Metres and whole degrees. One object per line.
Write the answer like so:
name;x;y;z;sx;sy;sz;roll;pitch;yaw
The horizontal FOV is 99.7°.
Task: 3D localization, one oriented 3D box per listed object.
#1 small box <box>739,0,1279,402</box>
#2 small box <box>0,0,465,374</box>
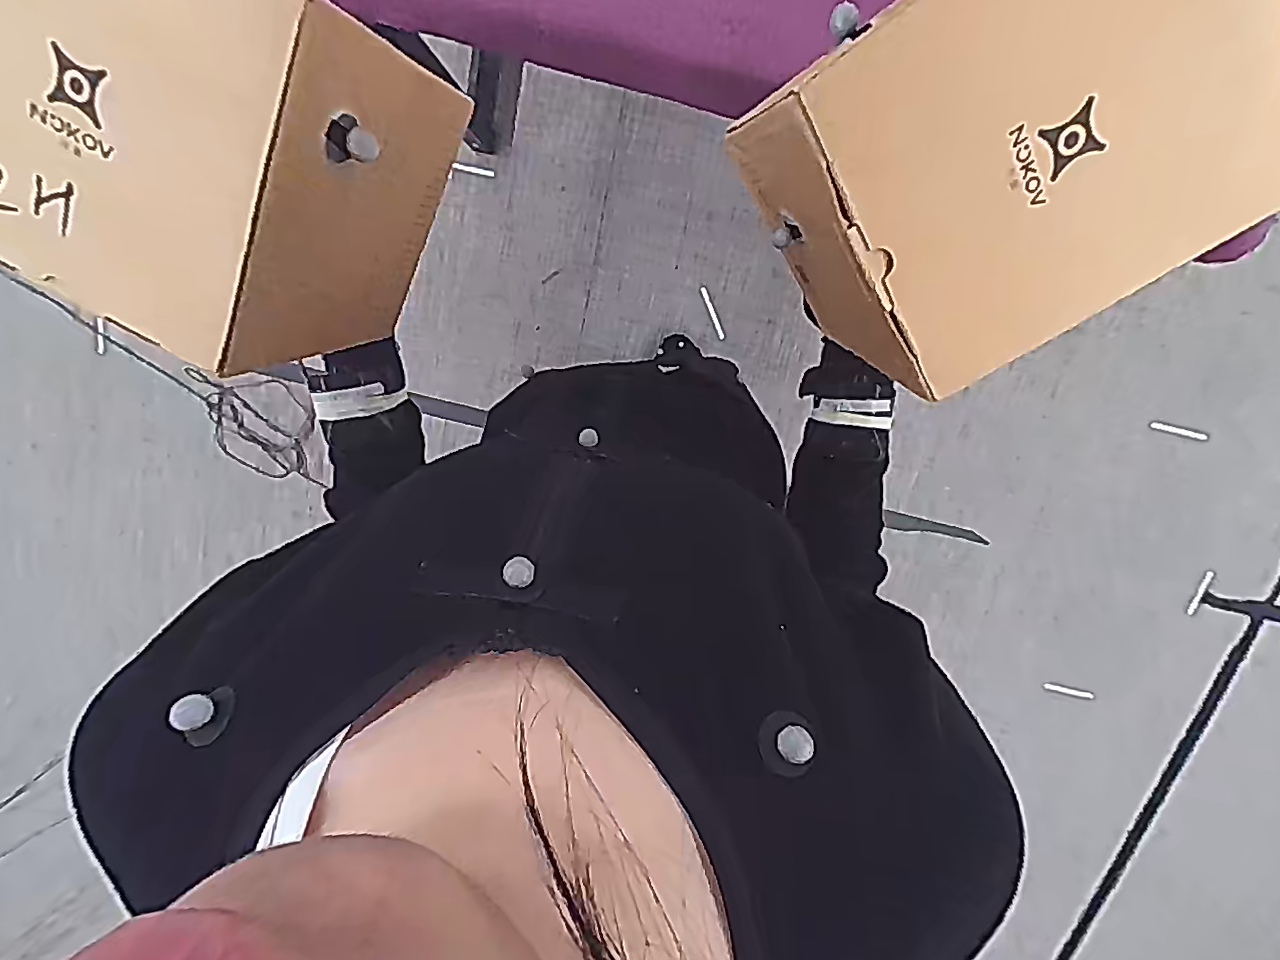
small box;0.180;-0.180;0.309;0.179;0.176;0.168;-32;114;14
small box;-0.222;-0.189;0.305;0.168;0.176;0.179;29;112;-6
